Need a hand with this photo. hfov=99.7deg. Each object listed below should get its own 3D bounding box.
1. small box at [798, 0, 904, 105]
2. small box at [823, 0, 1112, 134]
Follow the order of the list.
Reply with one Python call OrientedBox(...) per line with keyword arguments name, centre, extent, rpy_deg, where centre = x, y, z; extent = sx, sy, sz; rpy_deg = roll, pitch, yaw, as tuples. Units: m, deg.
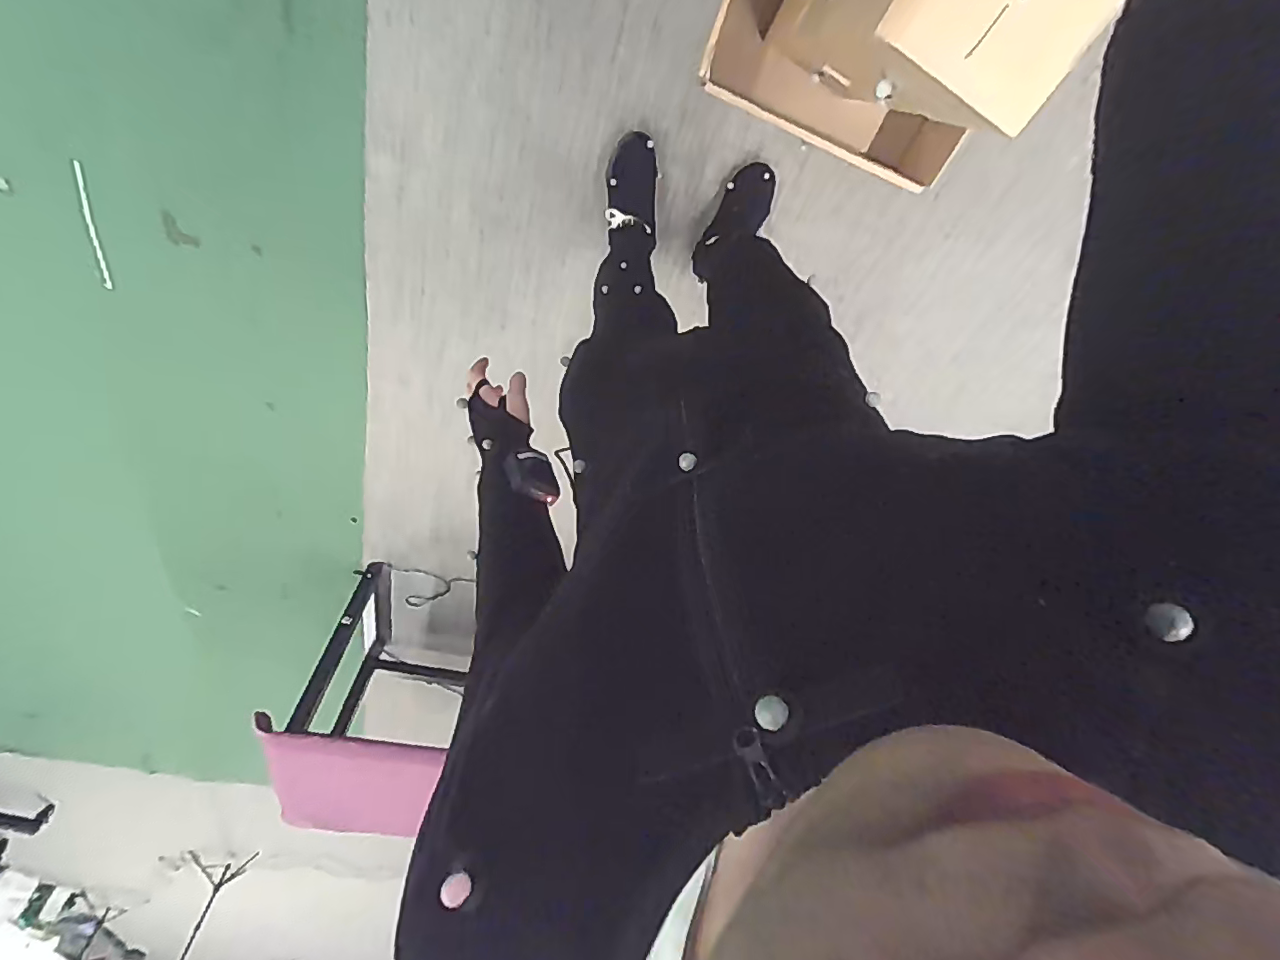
OrientedBox(name="small box", centre=(0.299, -0.550, 0.605), extent=(0.168, 0.176, 0.179), rpy_deg=(21, 124, -17))
OrientedBox(name="small box", centre=(0.292, -0.448, 0.477), extent=(0.168, 0.176, 0.179), rpy_deg=(21, 126, -17))
